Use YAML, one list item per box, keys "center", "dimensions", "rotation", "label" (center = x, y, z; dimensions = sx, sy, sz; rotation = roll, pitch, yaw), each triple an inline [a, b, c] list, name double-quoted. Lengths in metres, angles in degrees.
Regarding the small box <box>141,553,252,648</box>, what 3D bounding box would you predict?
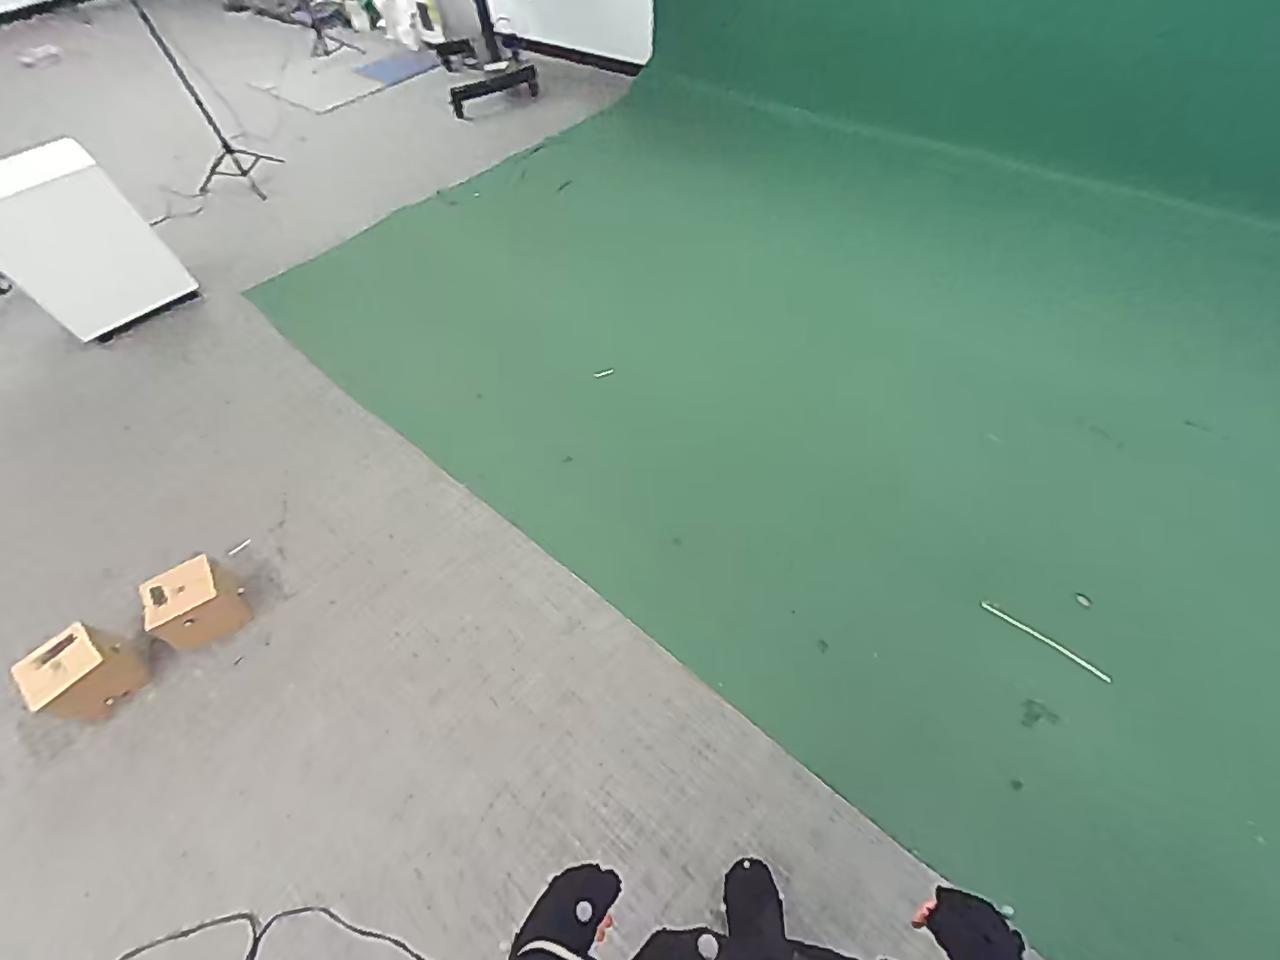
- center: [-1.258, 0.347, 1.541]
  dimensions: [0.179, 0.176, 0.168]
  rotation: [-30, 58, -18]
  label: "small box"
